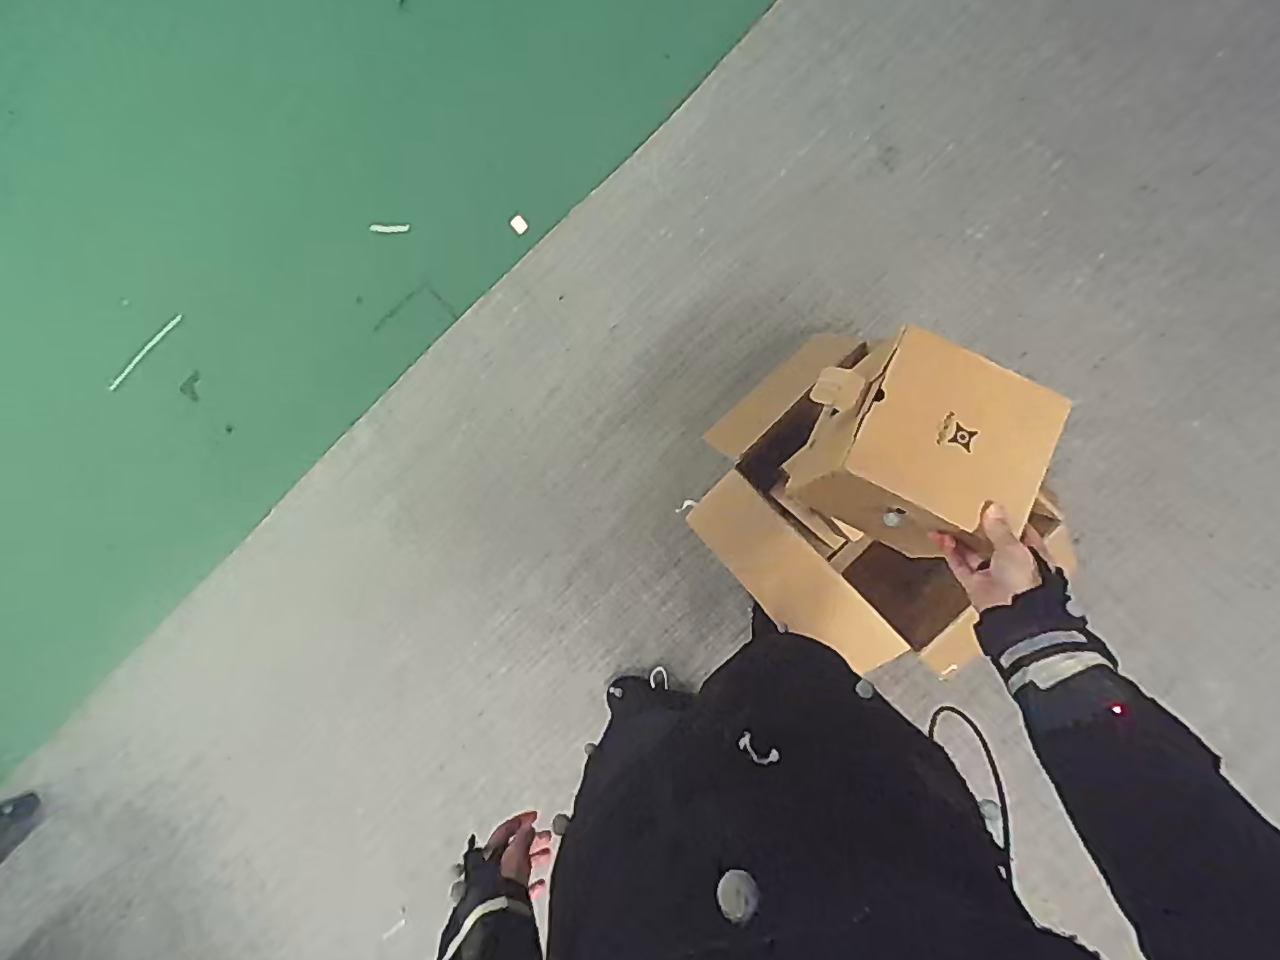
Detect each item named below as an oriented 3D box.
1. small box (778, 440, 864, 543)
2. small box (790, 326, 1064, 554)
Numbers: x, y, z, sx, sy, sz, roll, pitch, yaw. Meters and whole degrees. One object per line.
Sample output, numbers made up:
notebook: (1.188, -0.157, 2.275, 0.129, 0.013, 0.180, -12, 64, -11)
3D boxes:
small box: (0.354, -0.015, 0.921, 0.179, 0.176, 0.168, -41, 81, 7)
small box: (0.294, -0.030, 0.592, 0.179, 0.176, 0.168, 28, 80, 4)
